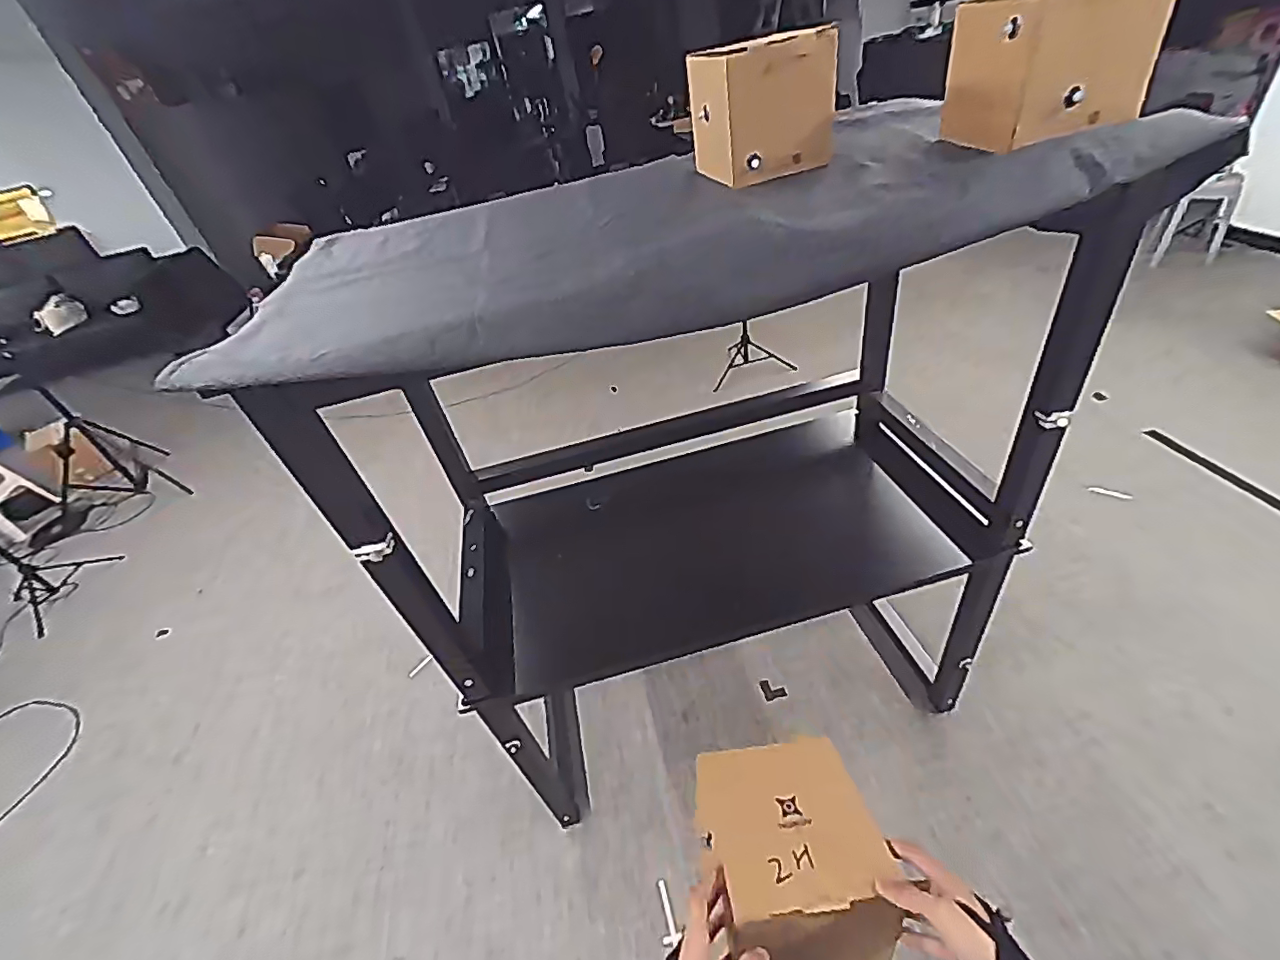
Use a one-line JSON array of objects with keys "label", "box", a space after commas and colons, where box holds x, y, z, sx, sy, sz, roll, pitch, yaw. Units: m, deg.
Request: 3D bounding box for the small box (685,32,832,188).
[{"label": "small box", "box": [0.183, -0.576, 0.851, 0.168, 0.176, 0.179, -17, 39, -5]}]

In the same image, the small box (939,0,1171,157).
[{"label": "small box", "box": [0.533, -0.550, 0.725, 0.168, 0.176, 0.179, -13, 39, 1]}]

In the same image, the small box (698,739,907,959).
[{"label": "small box", "box": [0.160, 0.425, 0.599, 0.168, 0.176, 0.179, -5, 25, -5]}]
